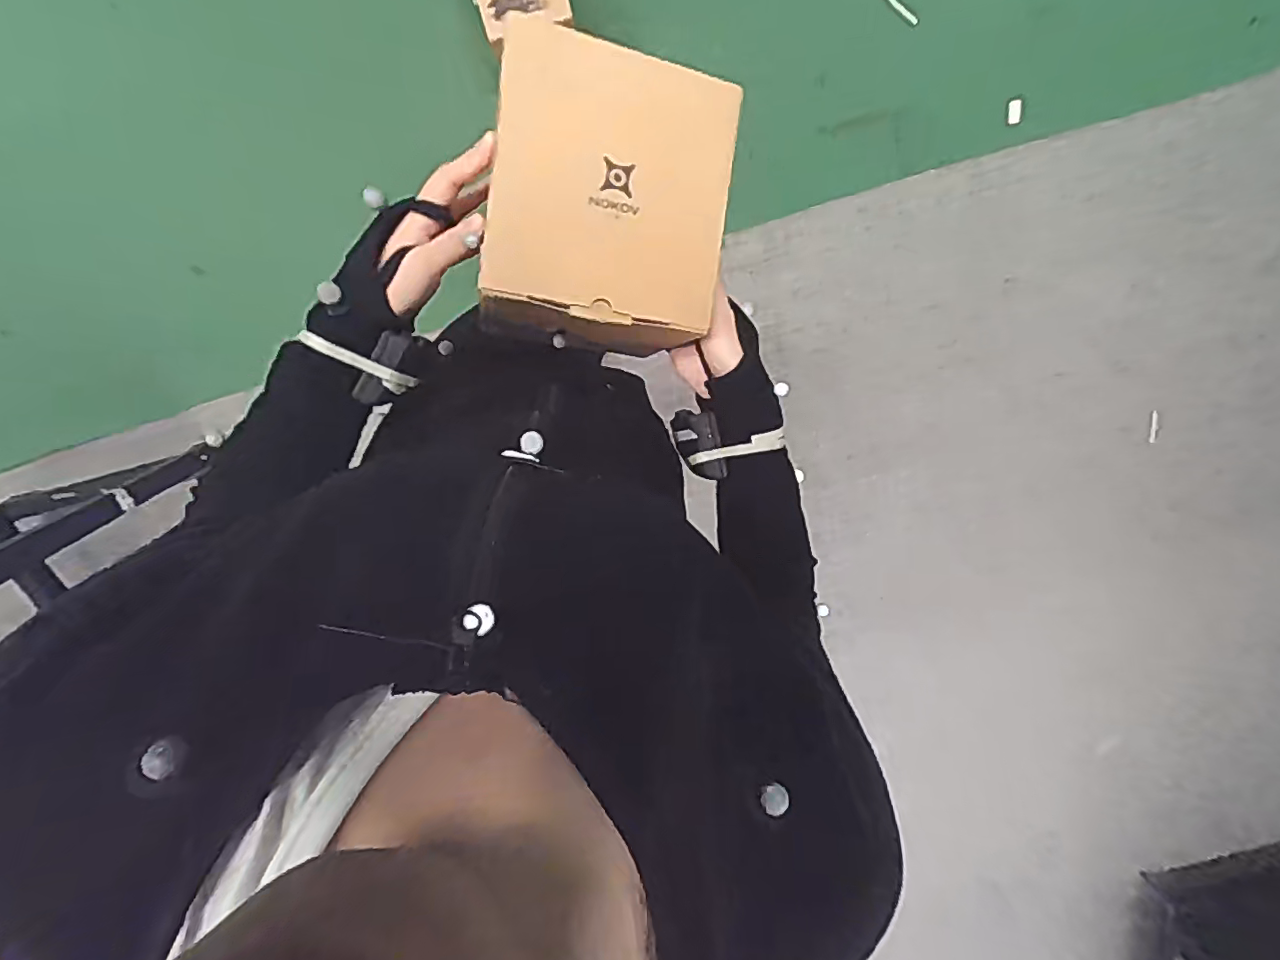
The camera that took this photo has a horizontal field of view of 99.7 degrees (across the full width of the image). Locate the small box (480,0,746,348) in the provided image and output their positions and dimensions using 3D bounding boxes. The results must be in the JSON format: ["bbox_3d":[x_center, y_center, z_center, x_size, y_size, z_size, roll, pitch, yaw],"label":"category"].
[{"bbox_3d":[-0.036,-0.215,0.438,0.168,0.176,0.179,6,96,-17],"label":"small box"}]
